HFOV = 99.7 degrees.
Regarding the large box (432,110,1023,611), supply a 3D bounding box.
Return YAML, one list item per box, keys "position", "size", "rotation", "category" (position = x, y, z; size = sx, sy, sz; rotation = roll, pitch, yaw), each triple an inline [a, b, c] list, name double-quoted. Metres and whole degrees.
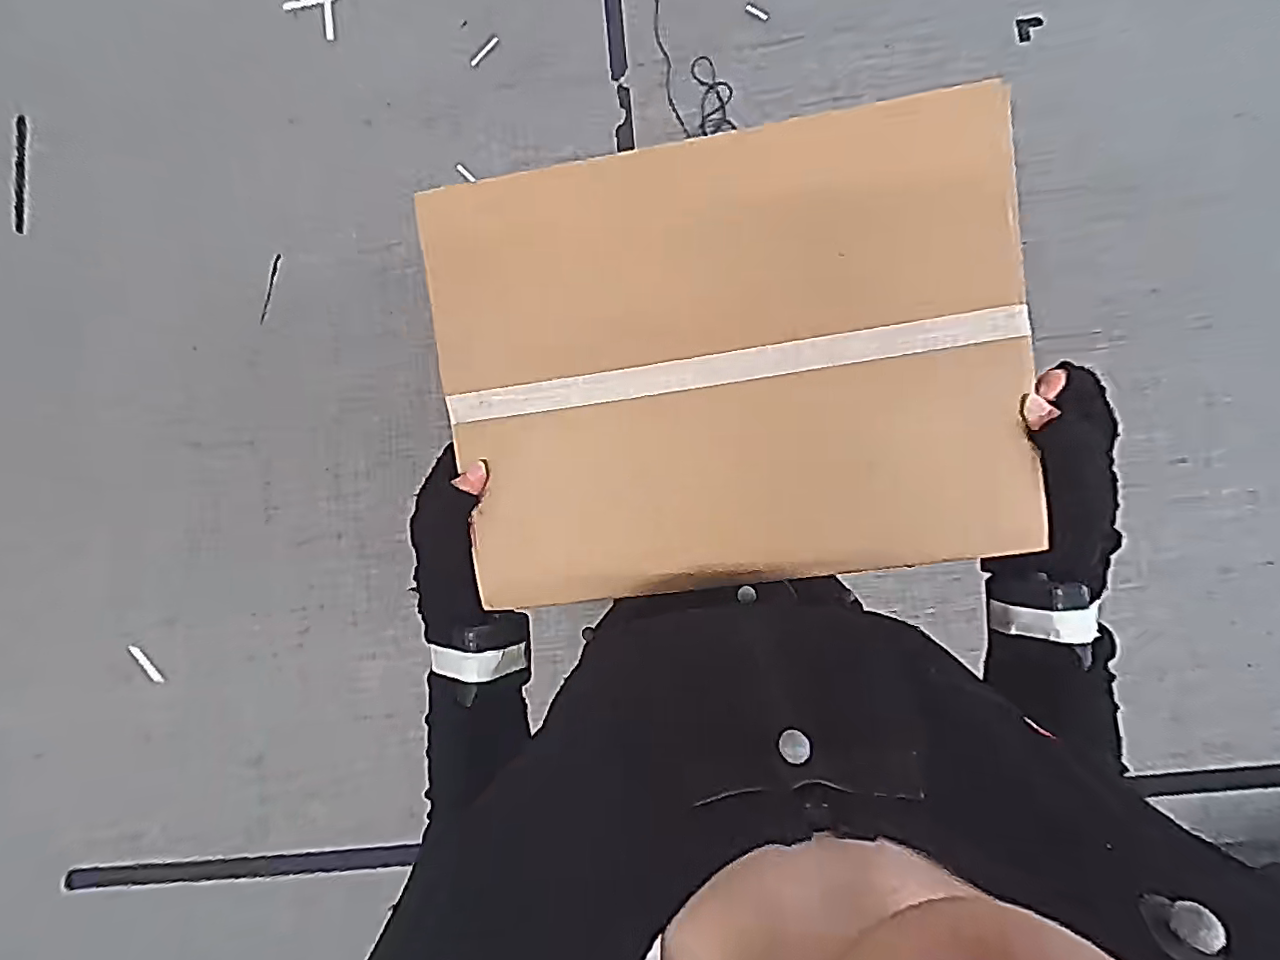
- position: [0.074, -0.086, 0.542]
  size: [0.408, 0.320, 0.320]
  rotation: [-7, 93, 6]
  category: "large box"
